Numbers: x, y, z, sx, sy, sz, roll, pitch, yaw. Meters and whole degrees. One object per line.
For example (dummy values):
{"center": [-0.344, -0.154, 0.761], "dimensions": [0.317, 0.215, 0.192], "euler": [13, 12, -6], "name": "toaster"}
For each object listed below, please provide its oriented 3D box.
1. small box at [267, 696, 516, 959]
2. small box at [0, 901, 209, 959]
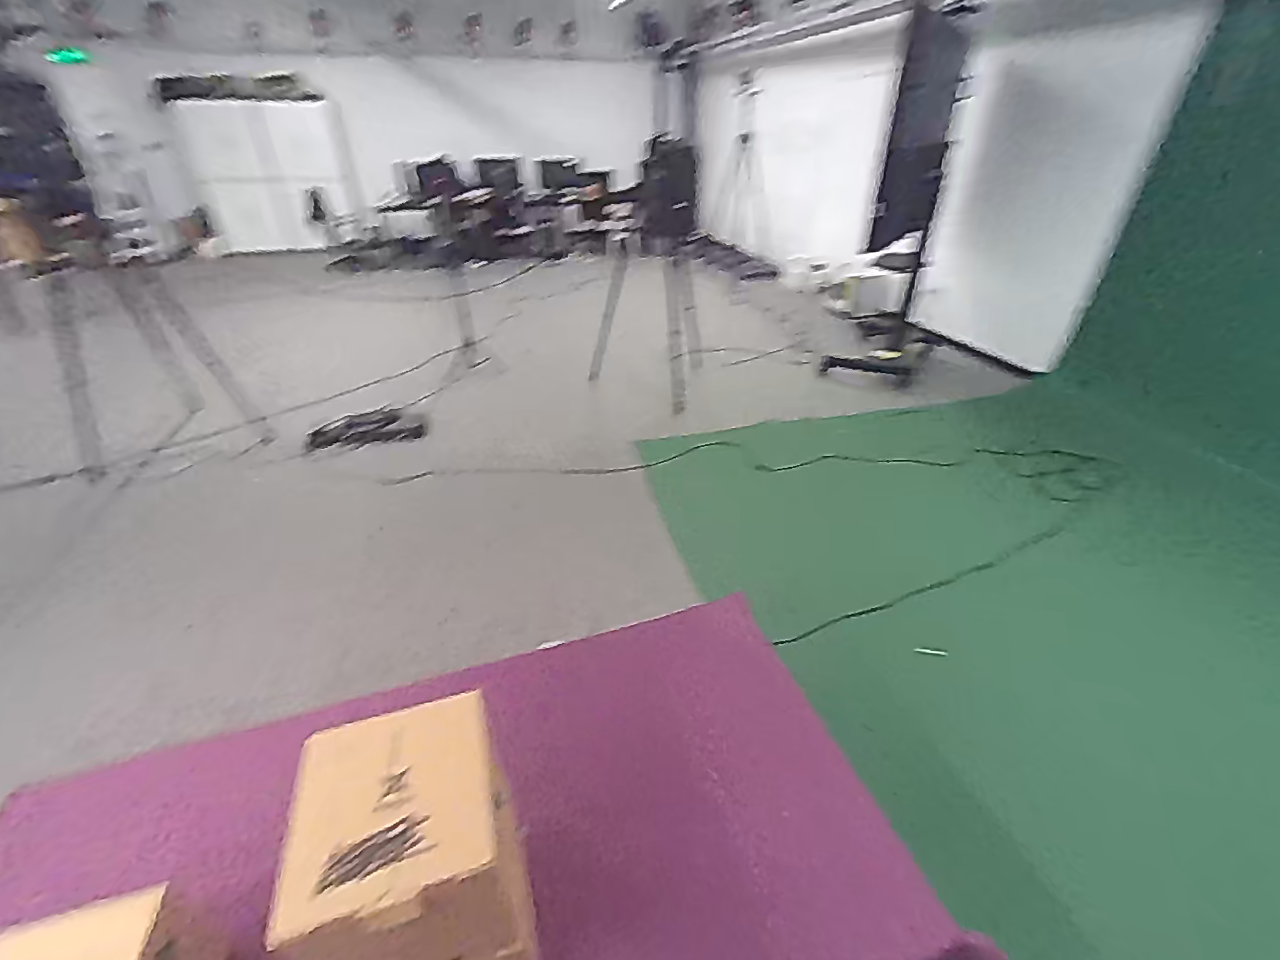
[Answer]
{"center": [-0.221, 0.353, 0.523], "dimensions": [0.168, 0.176, 0.179], "euler": [-11, 32, -16], "name": "small box"}
{"center": [-0.546, 0.558, 0.511], "dimensions": [0.168, 0.176, 0.179], "euler": [-10, 34, -15], "name": "small box"}
